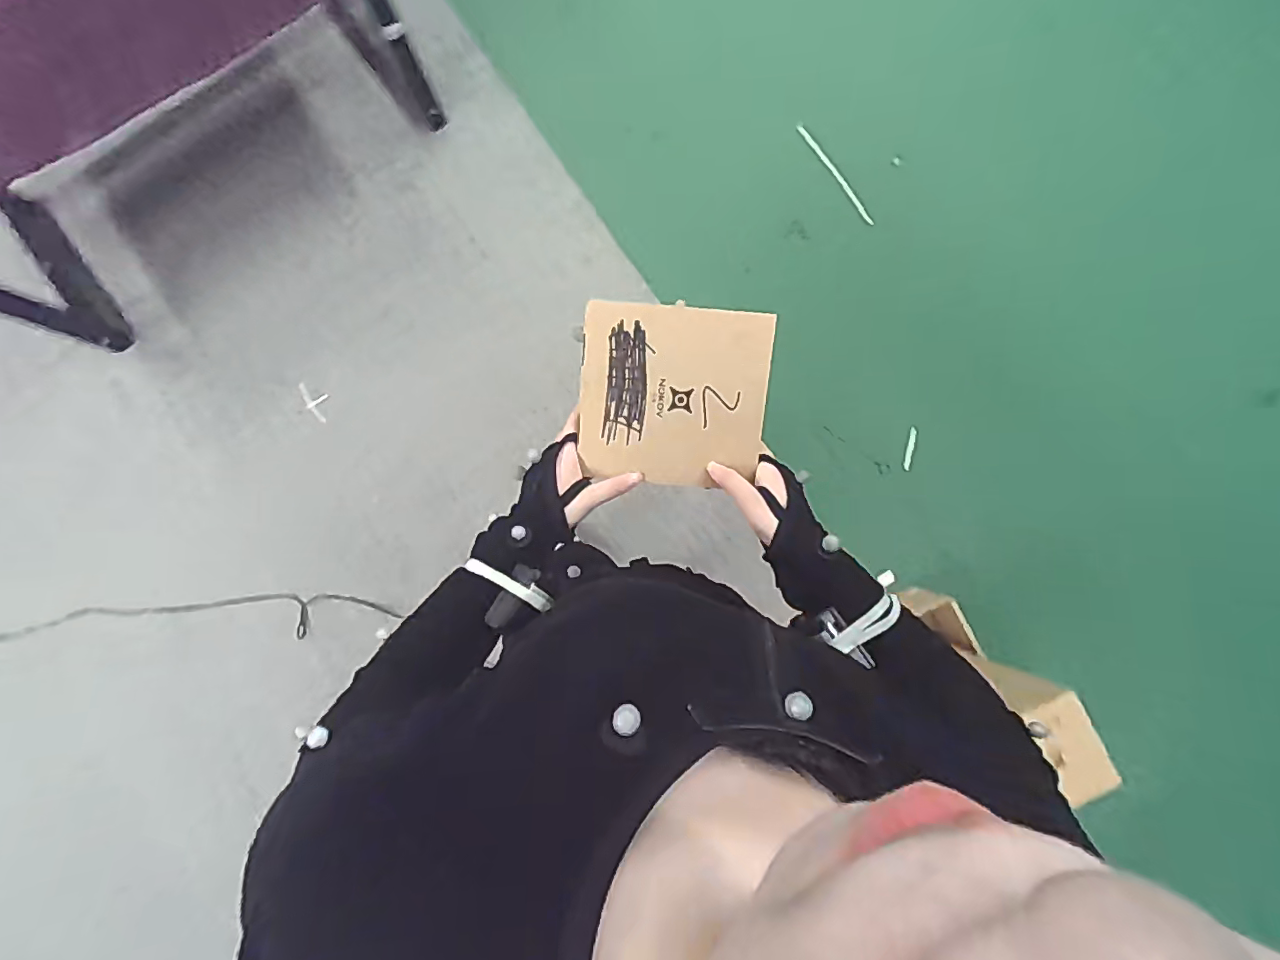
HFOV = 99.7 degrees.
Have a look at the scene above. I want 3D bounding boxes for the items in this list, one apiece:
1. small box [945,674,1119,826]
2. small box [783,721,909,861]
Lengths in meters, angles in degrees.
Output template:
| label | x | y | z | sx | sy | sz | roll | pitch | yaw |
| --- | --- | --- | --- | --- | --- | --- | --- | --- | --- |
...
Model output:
| label | x | y | z | sx | sy | sz | roll | pitch | yaw |
| --- | --- | --- | --- | --- | --- | --- | --- | --- | --- |
| small box | 0.727 | 0.497 | 1.024 | 0.168 | 0.176 | 0.179 | -24 | 85 | -1 |
| small box | 0.436 | 0.662 | 1.173 | 0.168 | 0.176 | 0.179 | -26 | 85 | -3 |
